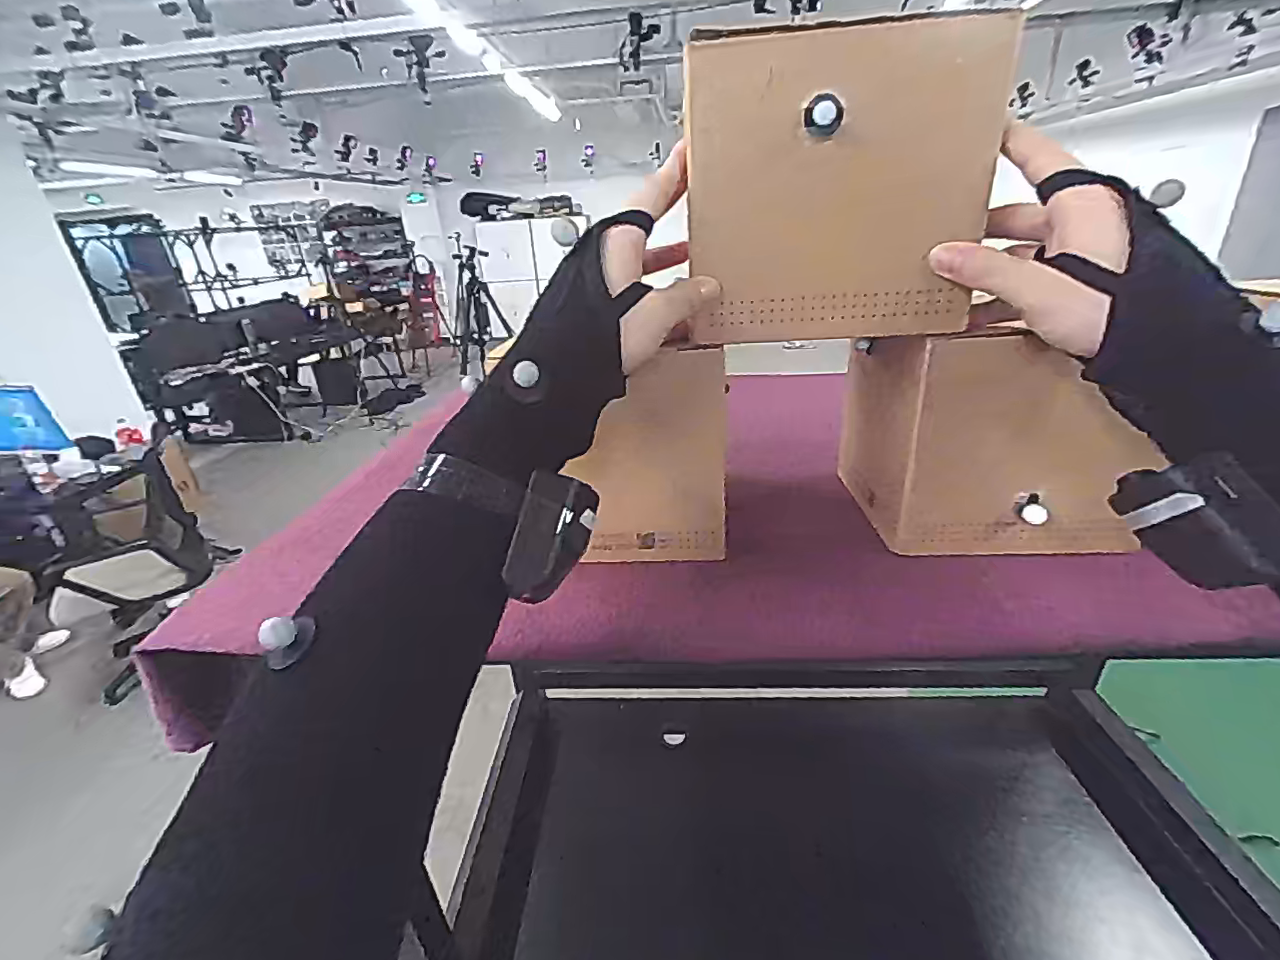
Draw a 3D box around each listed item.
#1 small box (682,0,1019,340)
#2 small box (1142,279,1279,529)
[{"bbox_3d":[0.121,-0.197,0.386,0.179,0.176,0.168,-1,24,5],"label":"small box"},{"bbox_3d":[0.556,-0.060,0.417,0.168,0.176,0.179,0,25,9],"label":"small box"}]
